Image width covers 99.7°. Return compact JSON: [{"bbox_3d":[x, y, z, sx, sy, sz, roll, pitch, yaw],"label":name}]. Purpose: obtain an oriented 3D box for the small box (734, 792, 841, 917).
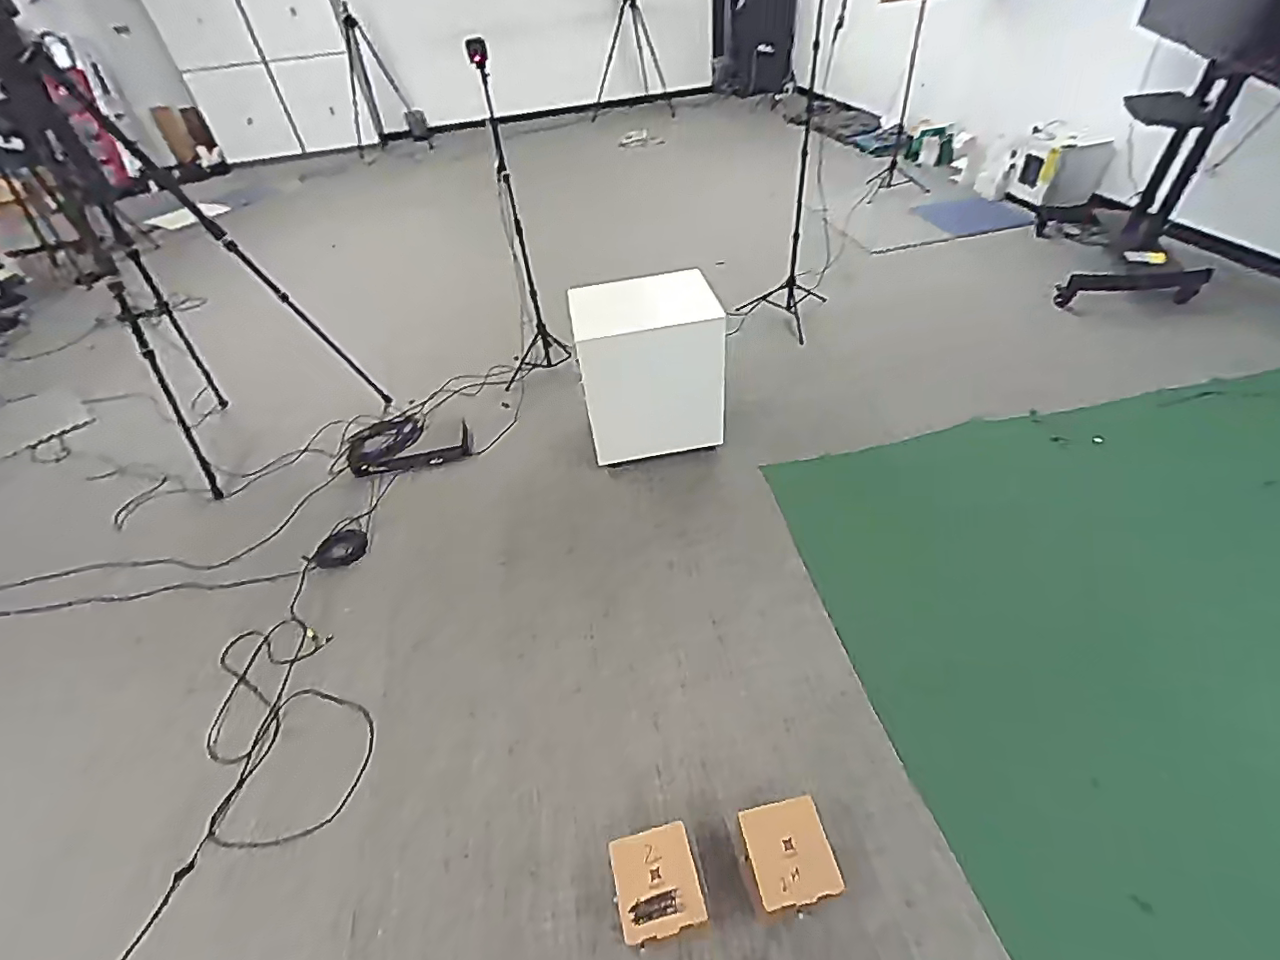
[{"bbox_3d":[0.307,0.810,1.170,0.168,0.176,0.179,-11,45,-4],"label":"small box"}]
